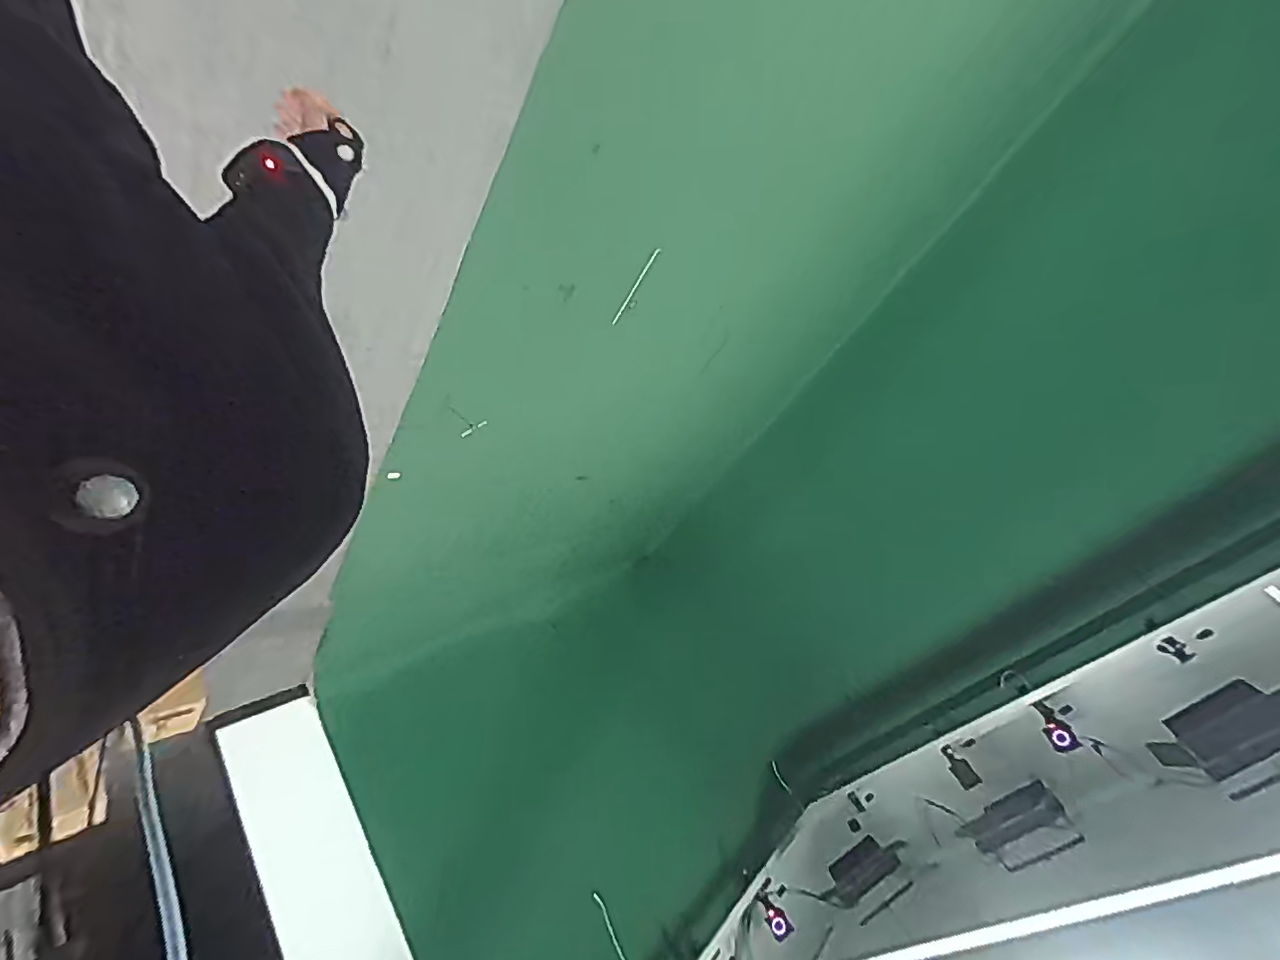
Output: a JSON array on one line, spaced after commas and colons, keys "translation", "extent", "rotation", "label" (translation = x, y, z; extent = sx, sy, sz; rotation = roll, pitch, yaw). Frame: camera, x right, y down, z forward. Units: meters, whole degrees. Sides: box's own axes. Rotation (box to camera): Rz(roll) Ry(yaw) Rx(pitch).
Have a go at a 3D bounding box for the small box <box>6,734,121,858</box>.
[{"translation": [-1.391, 0.754, 1.304], "extent": [0.179, 0.176, 0.168], "rotation": [-9, 145, -51], "label": "small box"}]
